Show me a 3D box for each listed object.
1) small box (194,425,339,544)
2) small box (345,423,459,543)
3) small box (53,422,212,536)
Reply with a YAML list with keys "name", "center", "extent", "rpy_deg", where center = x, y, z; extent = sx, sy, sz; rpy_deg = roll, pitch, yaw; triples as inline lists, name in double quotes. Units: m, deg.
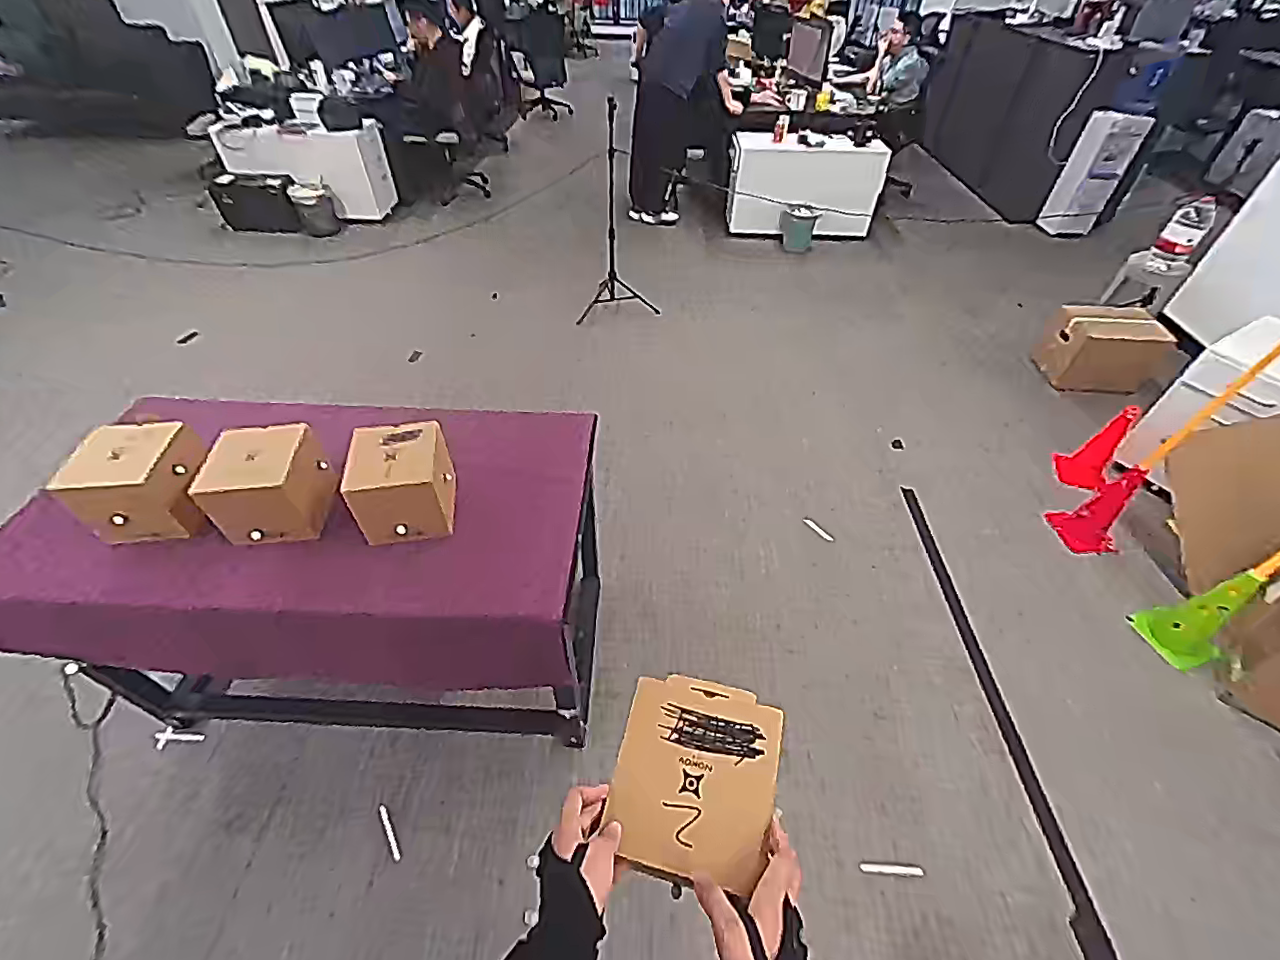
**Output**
- name: "small box"
  center: [-0.745, 0.009, 1.107]
  extent: [0.168, 0.176, 0.179]
  rpy_deg: [-5, 46, -5]
- name: "small box"
  center: [-0.478, 0.006, 1.116]
  extent: [0.168, 0.176, 0.179]
  rpy_deg: [-7, 47, -8]
- name: "small box"
  center: [-0.998, 0.003, 1.104]
  extent: [0.168, 0.176, 0.179]
  rpy_deg: [-3, 46, -5]
